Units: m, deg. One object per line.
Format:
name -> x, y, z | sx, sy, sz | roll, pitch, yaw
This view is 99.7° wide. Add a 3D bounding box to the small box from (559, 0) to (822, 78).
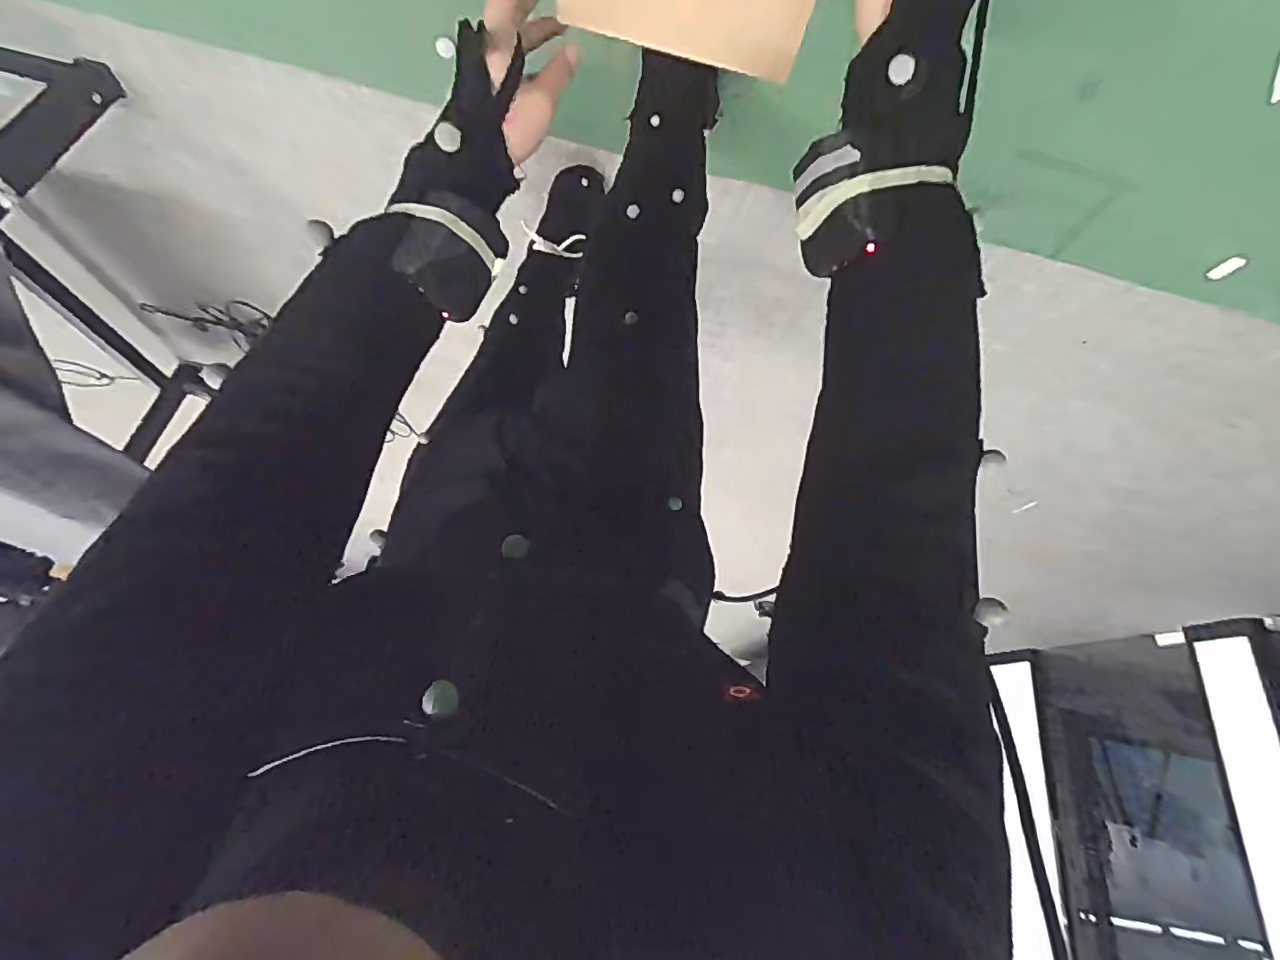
small box -> 0.052, -0.398, 0.321 | 0.168, 0.176, 0.179 | 14, 156, -2
